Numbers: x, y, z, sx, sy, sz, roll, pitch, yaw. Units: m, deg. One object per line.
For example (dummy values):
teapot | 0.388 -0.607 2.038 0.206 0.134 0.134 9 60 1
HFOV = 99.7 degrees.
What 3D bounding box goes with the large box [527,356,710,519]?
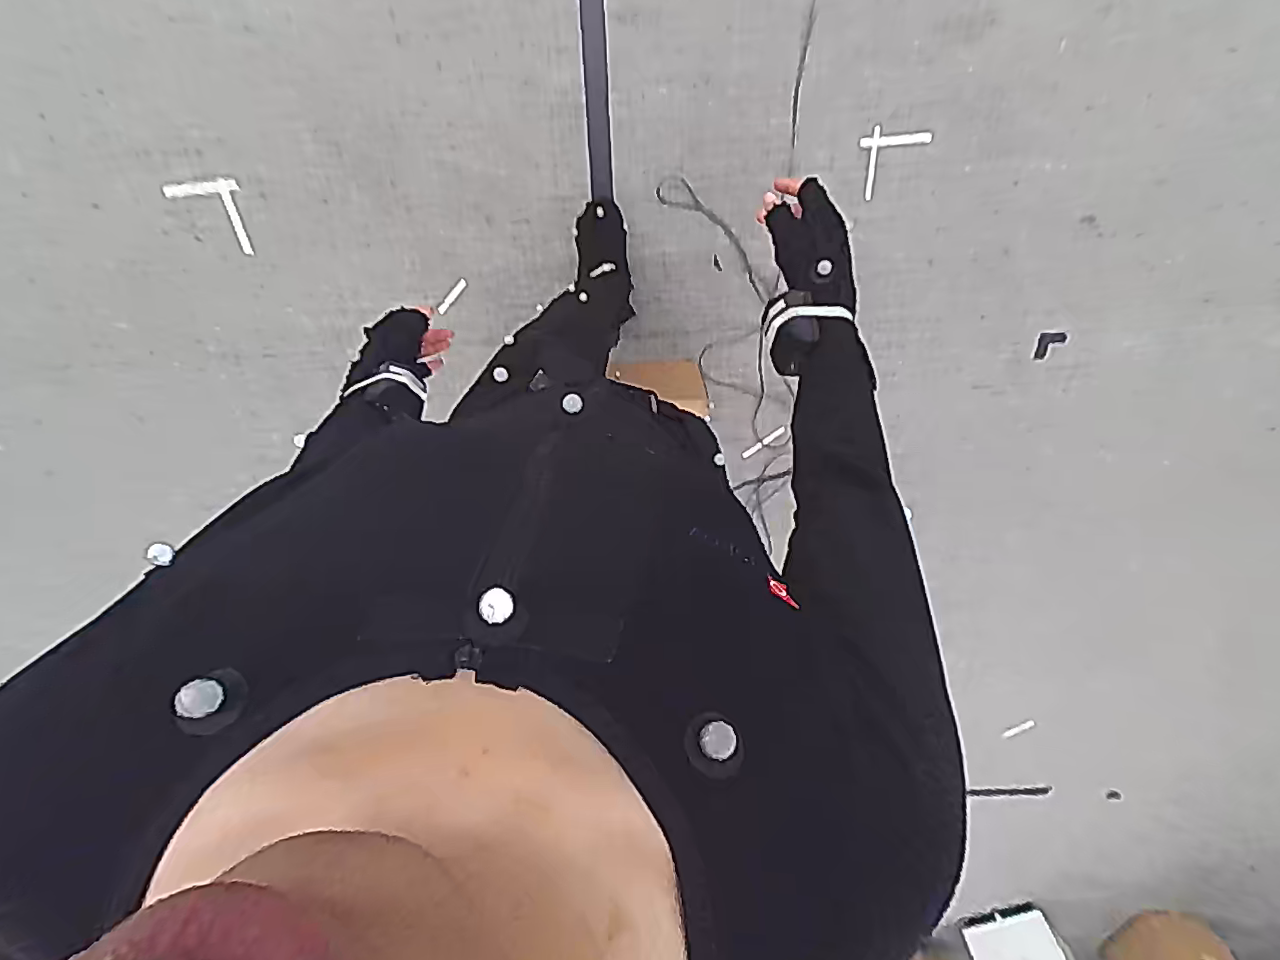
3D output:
large box | -0.043 -0.118 1.366 0.408 0.320 0.320 -2 119 1
